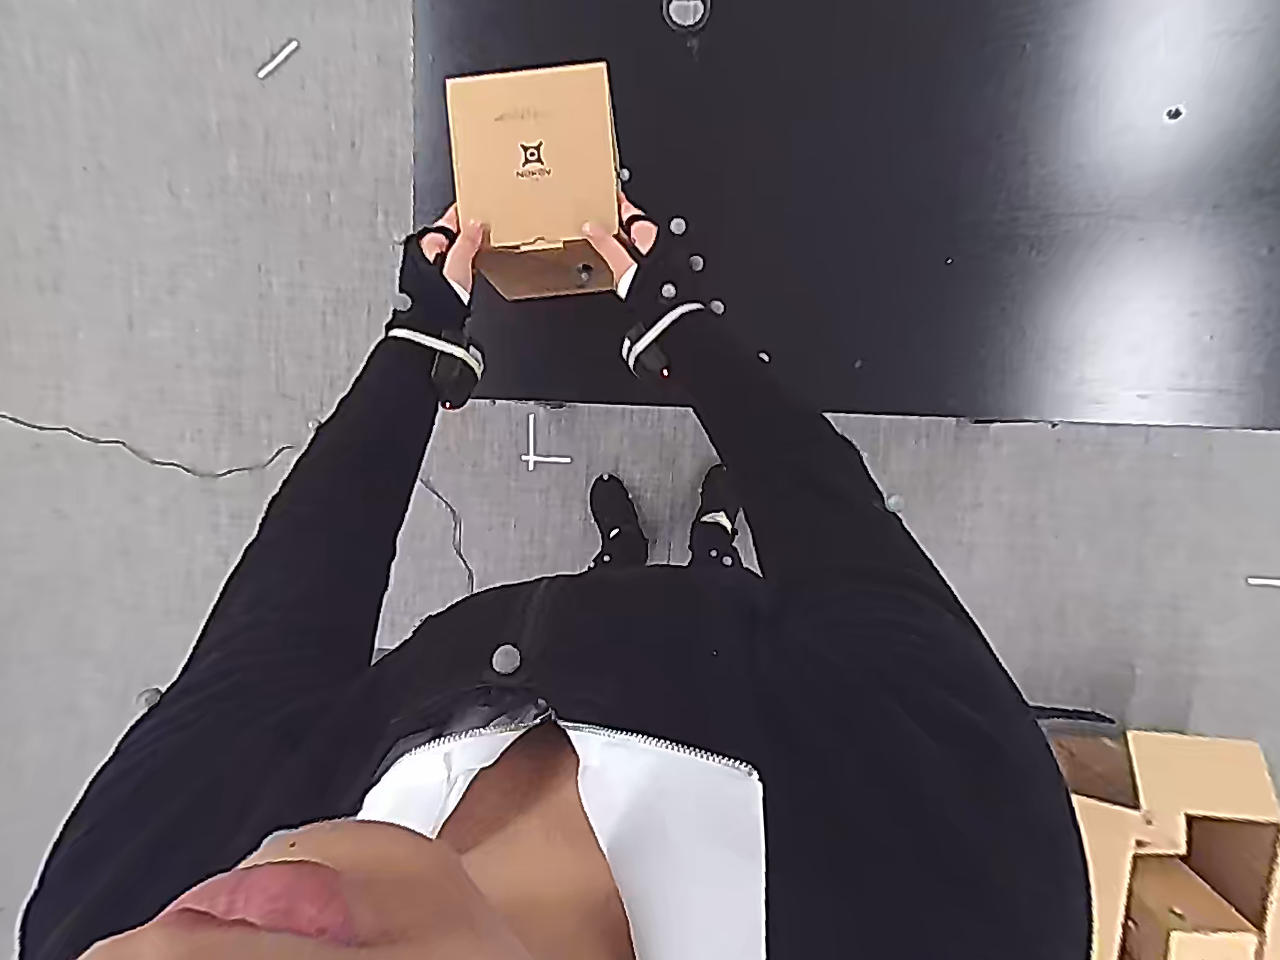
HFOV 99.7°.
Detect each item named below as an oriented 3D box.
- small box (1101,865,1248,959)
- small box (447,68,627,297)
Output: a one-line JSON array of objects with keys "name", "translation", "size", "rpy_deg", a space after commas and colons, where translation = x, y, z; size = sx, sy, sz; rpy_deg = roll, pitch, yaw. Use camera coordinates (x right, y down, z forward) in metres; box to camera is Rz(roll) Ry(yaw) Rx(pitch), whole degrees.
[{"name": "small box", "translation": [1.213, 1.023, 1.242], "size": [0.179, 0.176, 0.168], "rpy_deg": [-3, 99, 3]}, {"name": "small box", "translation": [-0.106, -0.323, 0.626], "size": [0.168, 0.176, 0.179], "rpy_deg": [-5, 90, 1]}]
